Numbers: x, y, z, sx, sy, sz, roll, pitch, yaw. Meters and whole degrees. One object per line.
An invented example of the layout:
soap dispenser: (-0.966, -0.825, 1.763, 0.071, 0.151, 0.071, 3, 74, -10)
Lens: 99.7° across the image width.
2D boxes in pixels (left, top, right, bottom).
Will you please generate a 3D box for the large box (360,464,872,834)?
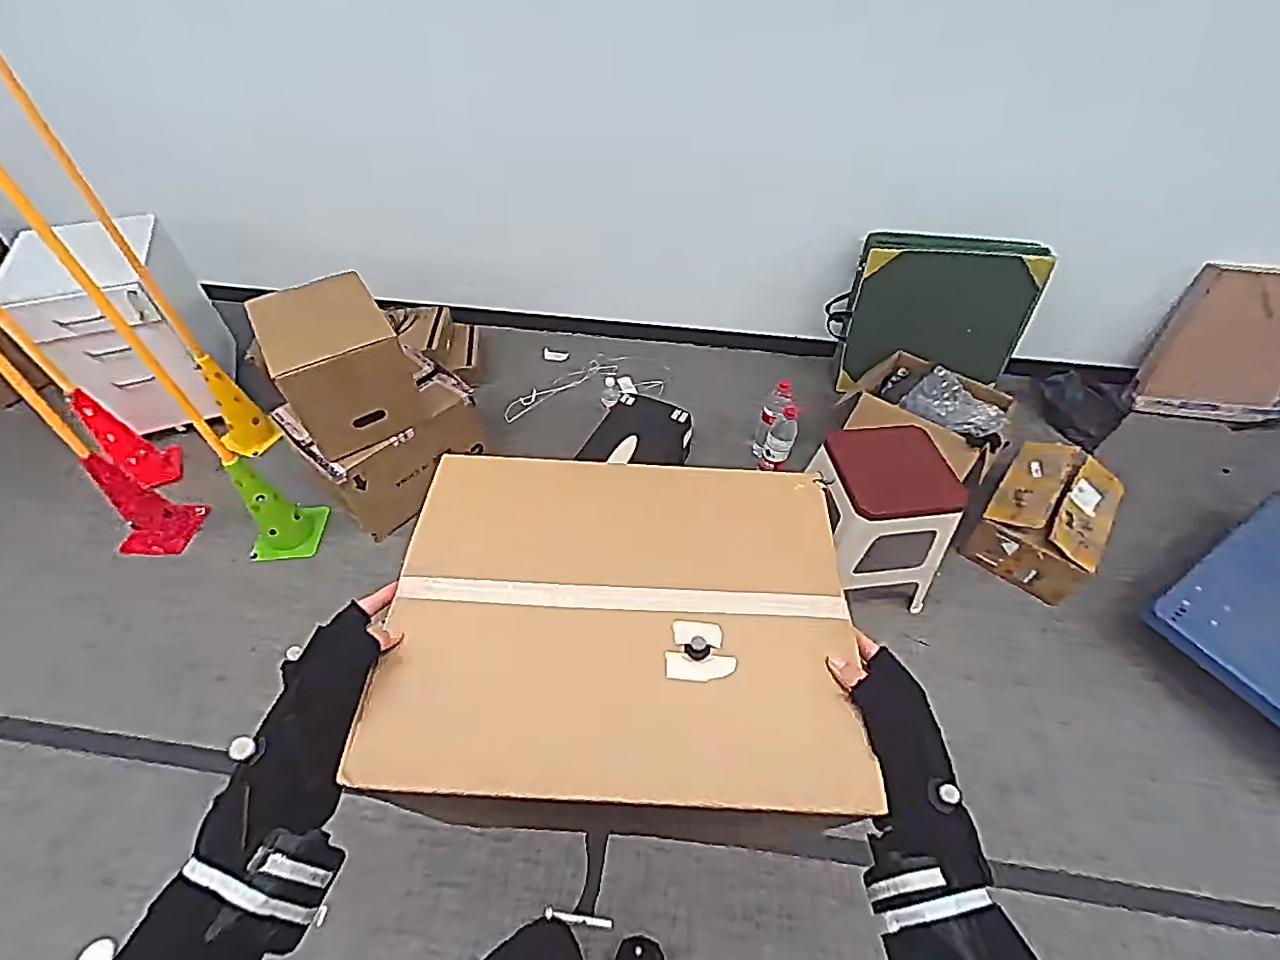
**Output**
large box: (-0.019, 0.202, 0.619, 0.408, 0.320, 0.320, 3, 53, 0)
